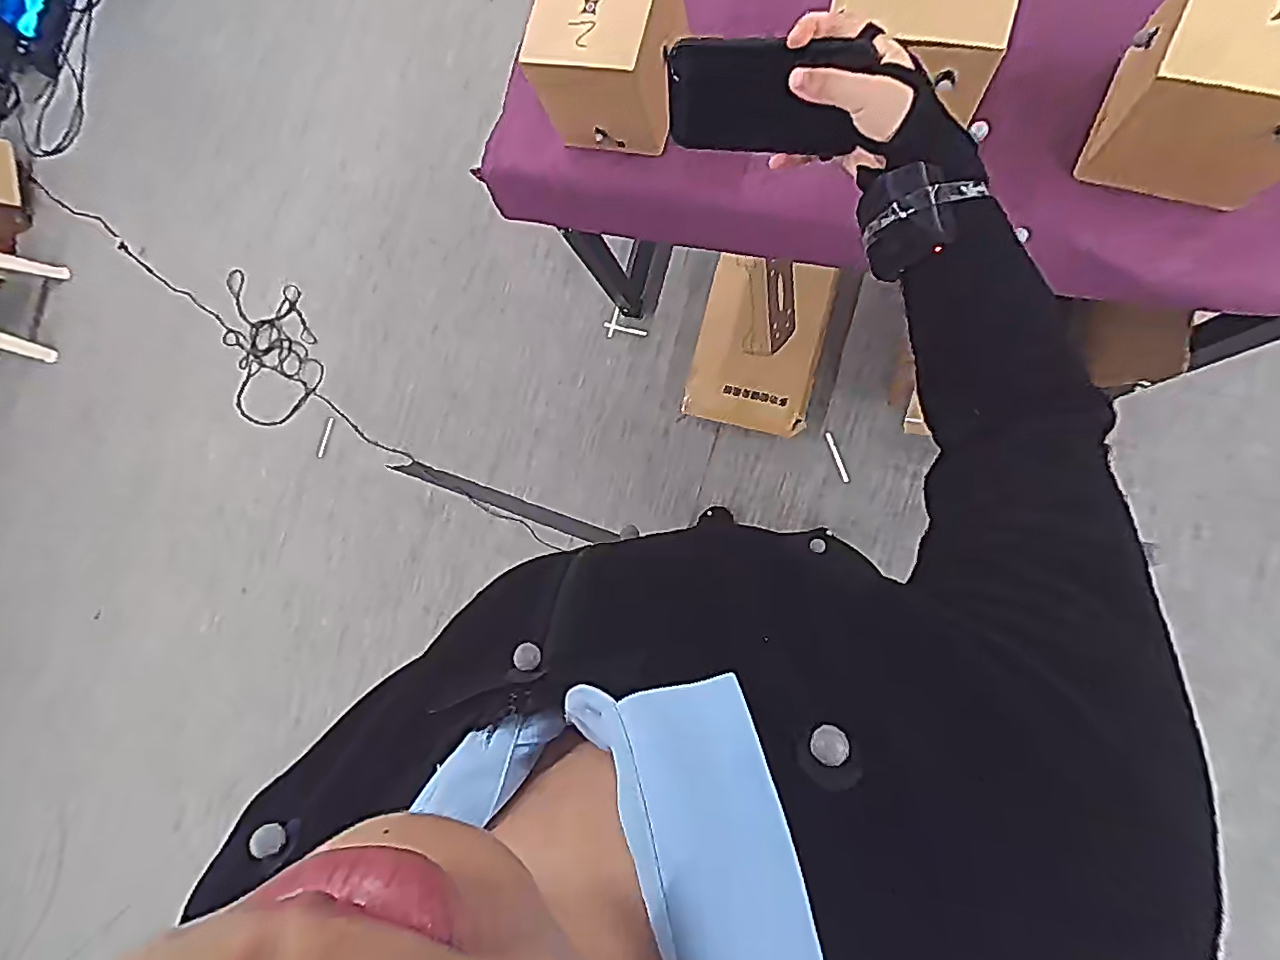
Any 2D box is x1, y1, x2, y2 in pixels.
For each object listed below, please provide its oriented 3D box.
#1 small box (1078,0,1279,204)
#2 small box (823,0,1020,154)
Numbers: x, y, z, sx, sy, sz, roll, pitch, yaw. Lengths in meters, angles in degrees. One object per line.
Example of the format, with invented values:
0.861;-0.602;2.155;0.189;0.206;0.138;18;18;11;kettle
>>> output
0.627;-0.429;0.578;0.179;0.176;0.168;22;92;14;small box
0.336;-0.532;0.657;0.179;0.176;0.168;15;87;15;small box
